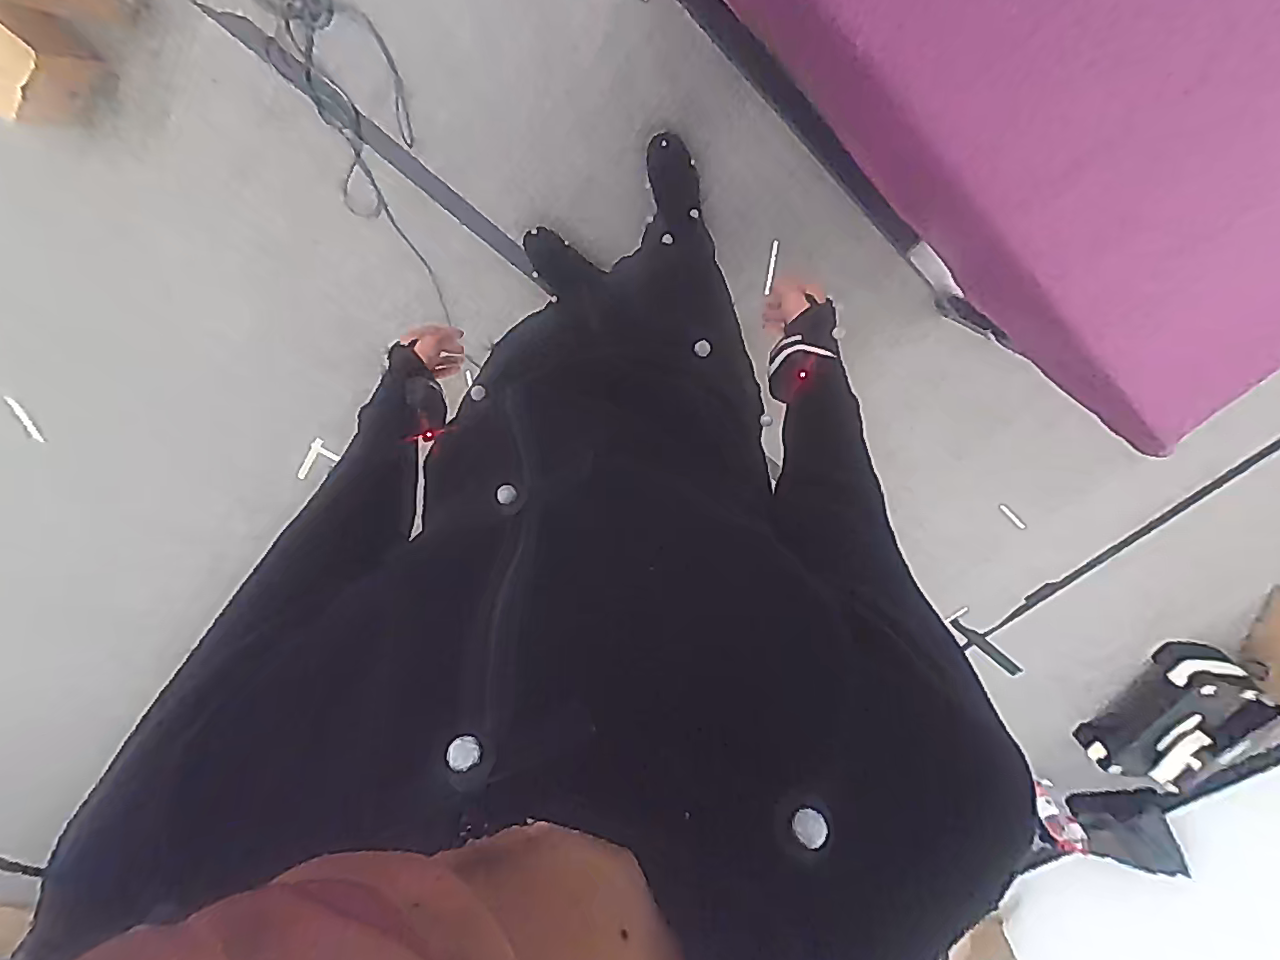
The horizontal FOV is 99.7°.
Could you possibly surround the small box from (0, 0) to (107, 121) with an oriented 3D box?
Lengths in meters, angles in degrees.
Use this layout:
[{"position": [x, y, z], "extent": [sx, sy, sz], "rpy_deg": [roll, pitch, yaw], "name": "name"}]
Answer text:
[{"position": [-1.257, -0.857, 1.089], "extent": [0.168, 0.176, 0.179], "rpy_deg": [-40, 116, 21], "name": "small box"}]
